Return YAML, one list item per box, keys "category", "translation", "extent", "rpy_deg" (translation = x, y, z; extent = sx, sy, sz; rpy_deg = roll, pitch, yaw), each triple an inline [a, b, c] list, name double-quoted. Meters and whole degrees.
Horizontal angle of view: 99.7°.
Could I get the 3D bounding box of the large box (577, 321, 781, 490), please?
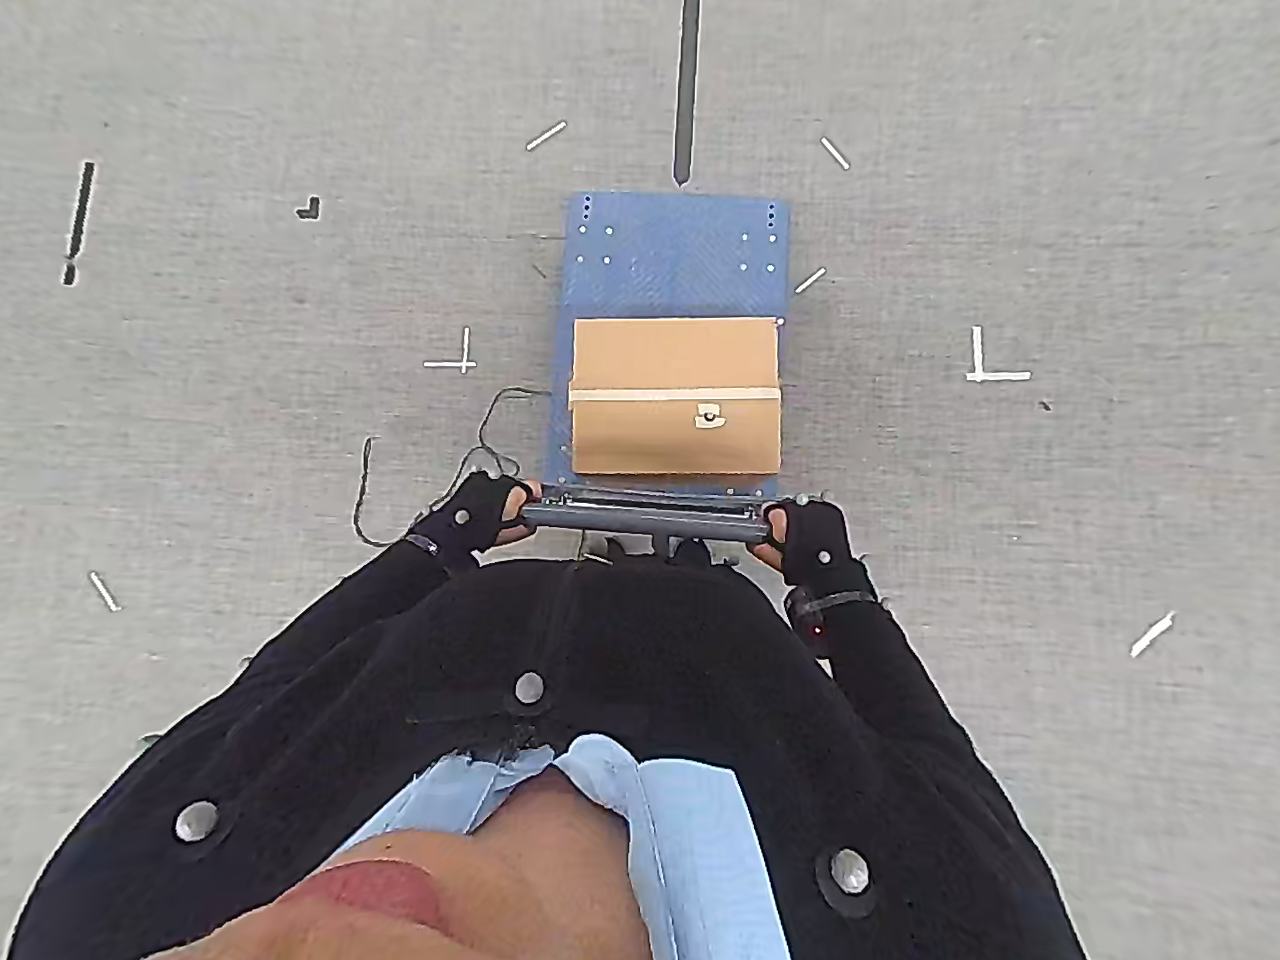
- category: "large box"
  translation: [0.075, -0.147, 1.215]
  extent: [0.408, 0.320, 0.320]
  rpy_deg: [0, 85, 1]
